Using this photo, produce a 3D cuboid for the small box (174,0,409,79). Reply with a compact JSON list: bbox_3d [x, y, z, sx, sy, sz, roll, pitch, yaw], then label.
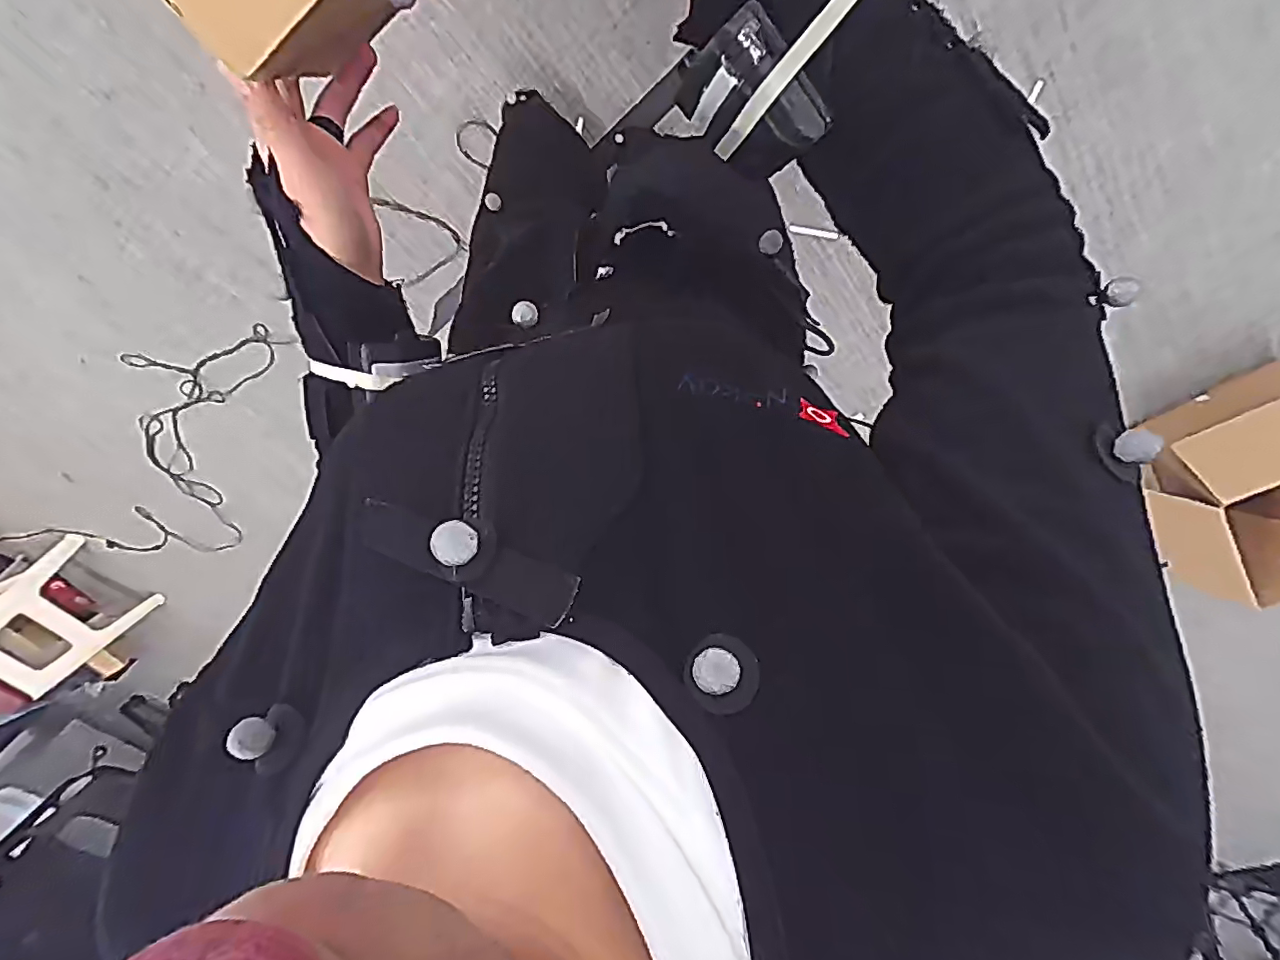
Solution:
[{"bbox_3d":[-0.164,-0.321,0.236,0.179,0.176,0.168,-33,128,13],"label":"small box"}]
